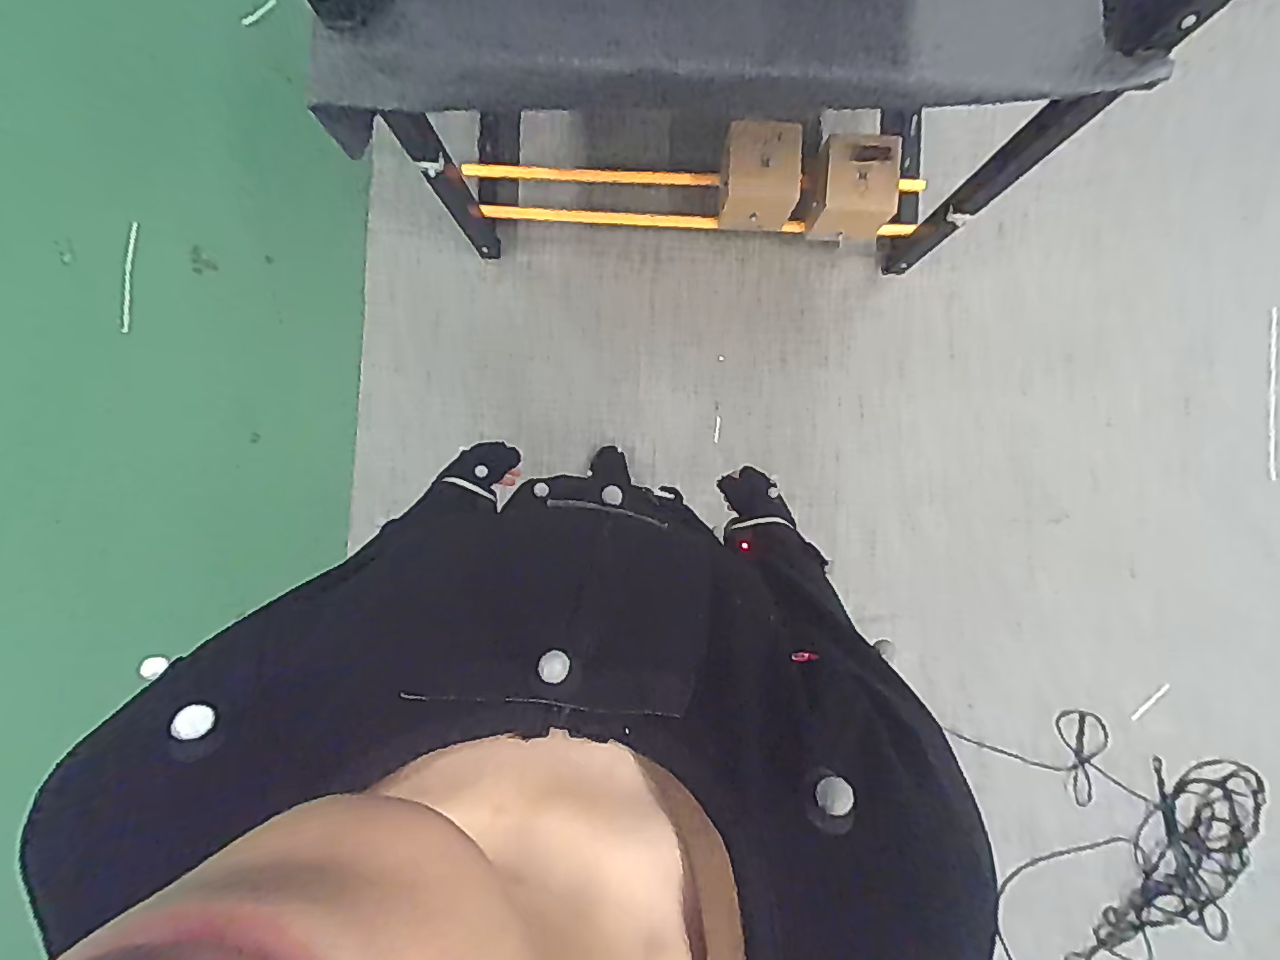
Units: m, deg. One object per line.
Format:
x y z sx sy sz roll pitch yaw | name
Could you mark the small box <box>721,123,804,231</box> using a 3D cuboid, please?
0.290 -0.724 1.309 0.168 0.176 0.179 2 90 1 | small box
